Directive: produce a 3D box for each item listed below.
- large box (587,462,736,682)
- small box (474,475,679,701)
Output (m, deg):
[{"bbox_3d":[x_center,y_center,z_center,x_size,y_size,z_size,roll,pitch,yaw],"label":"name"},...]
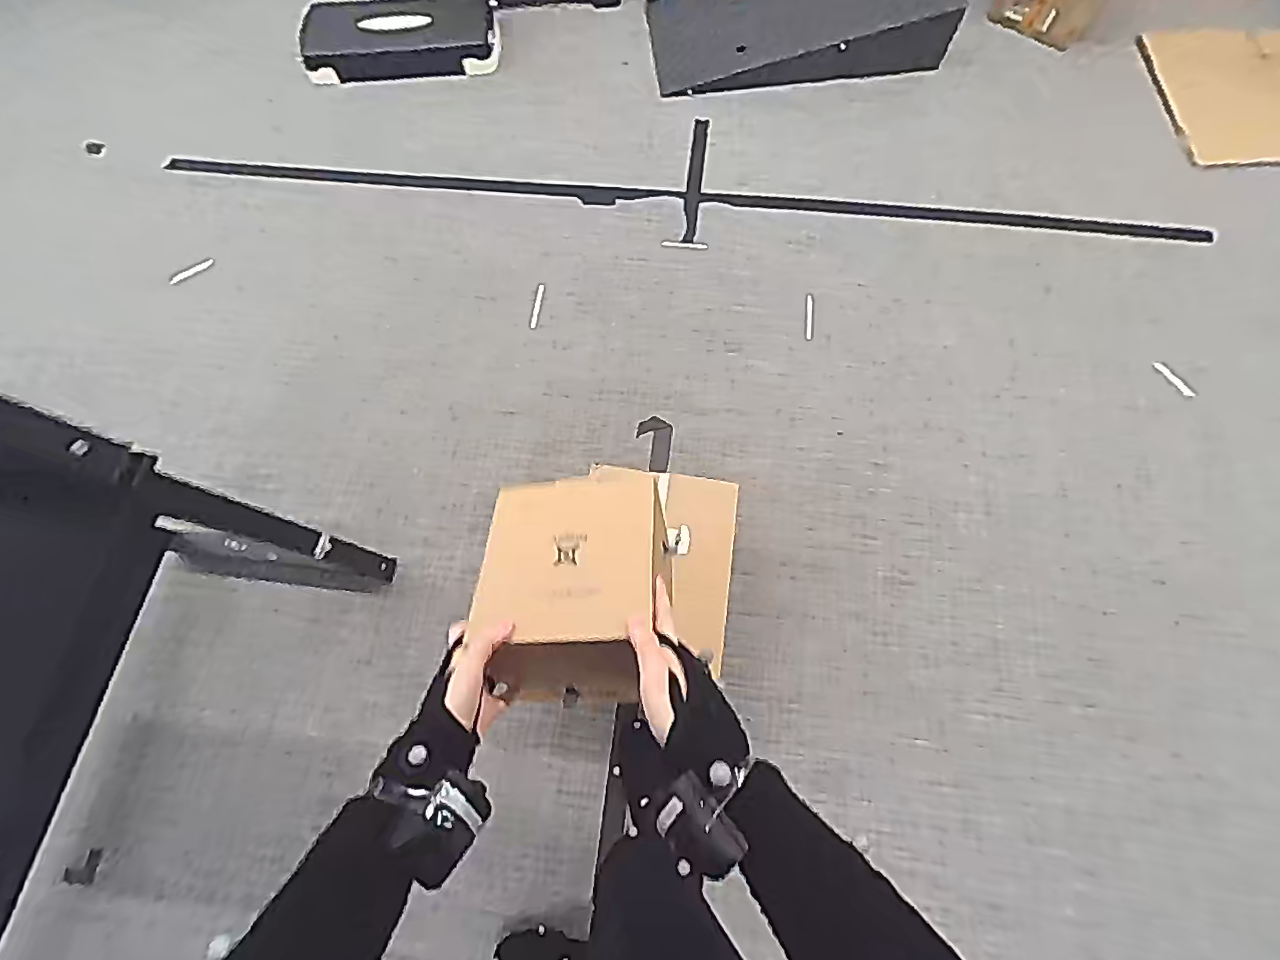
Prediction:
[{"bbox_3d":[0.024,0.217,1.196,0.320,0.320,0.408,8,71,3],"label":"large box"},{"bbox_3d":[-0.050,0.116,0.573,0.168,0.176,0.179,-4,49,8],"label":"small box"}]
